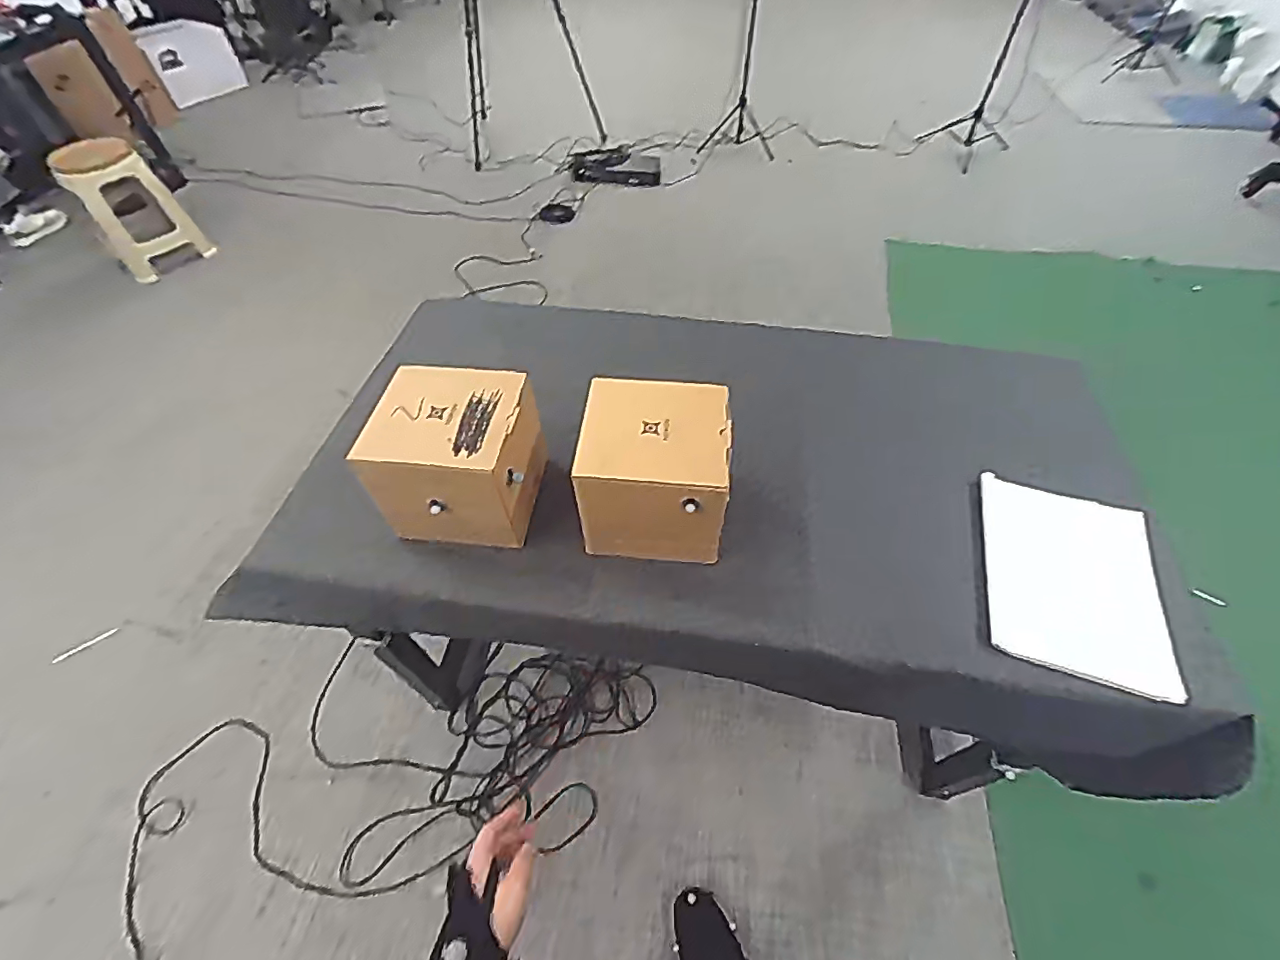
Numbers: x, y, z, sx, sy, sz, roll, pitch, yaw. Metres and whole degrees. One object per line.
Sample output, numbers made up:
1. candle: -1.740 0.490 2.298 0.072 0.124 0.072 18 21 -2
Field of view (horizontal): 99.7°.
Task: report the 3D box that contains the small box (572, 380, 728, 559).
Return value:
1. small box: 0.018 -0.011 0.705 0.179 0.176 0.168 4 52 3
